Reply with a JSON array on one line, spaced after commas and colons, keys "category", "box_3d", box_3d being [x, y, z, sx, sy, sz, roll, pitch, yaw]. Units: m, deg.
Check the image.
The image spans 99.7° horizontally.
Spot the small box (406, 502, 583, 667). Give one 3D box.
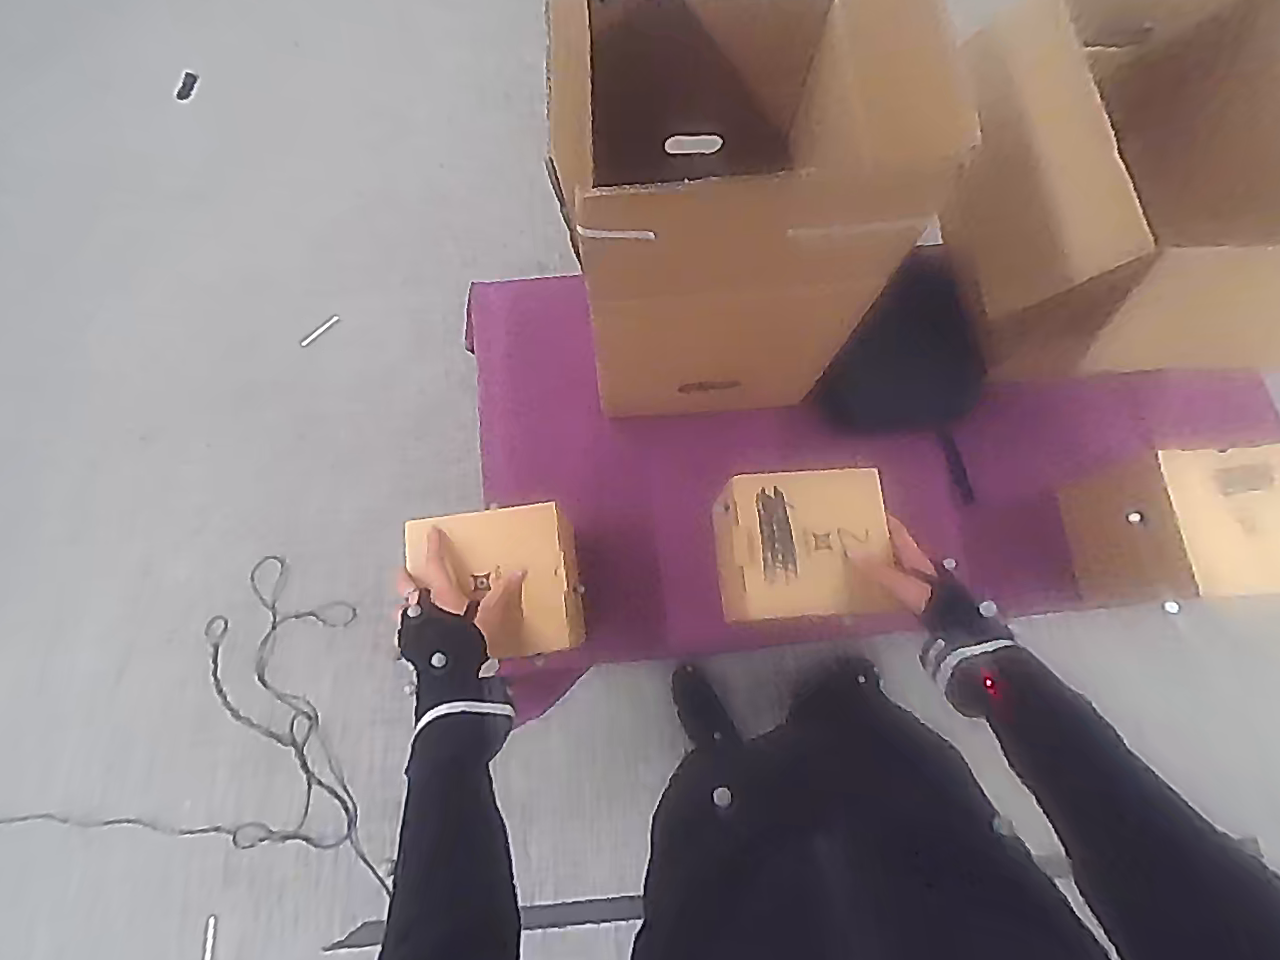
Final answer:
[{"category": "small box", "box_3d": [-0.172, 0.135, 0.677, 0.179, 0.176, 0.168, -8, 75, -4]}]

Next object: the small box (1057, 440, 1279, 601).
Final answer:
[{"category": "small box", "box_3d": [0.690, 0.060, 0.698, 0.168, 0.176, 0.179, -3, 75, -1]}]
